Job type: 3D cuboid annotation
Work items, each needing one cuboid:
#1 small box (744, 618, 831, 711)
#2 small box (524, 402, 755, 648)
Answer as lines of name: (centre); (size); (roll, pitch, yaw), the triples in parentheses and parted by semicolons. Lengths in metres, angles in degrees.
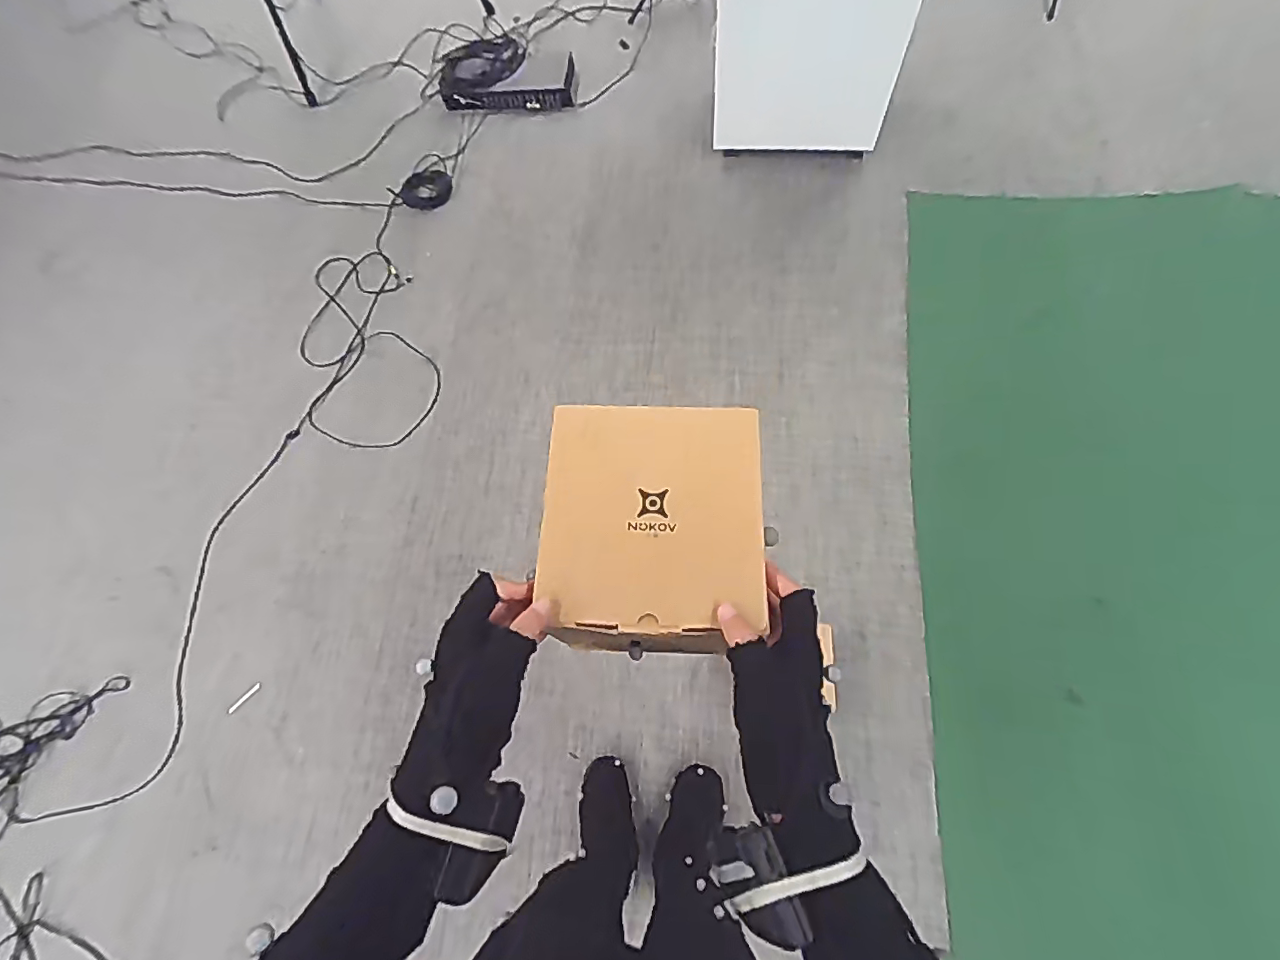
small box: (0.322, 0.407, 1.203); (0.168, 0.176, 0.179); (2, 71, 7)
small box: (0.005, 0.049, 0.482); (0.168, 0.176, 0.179); (1, 69, 3)
